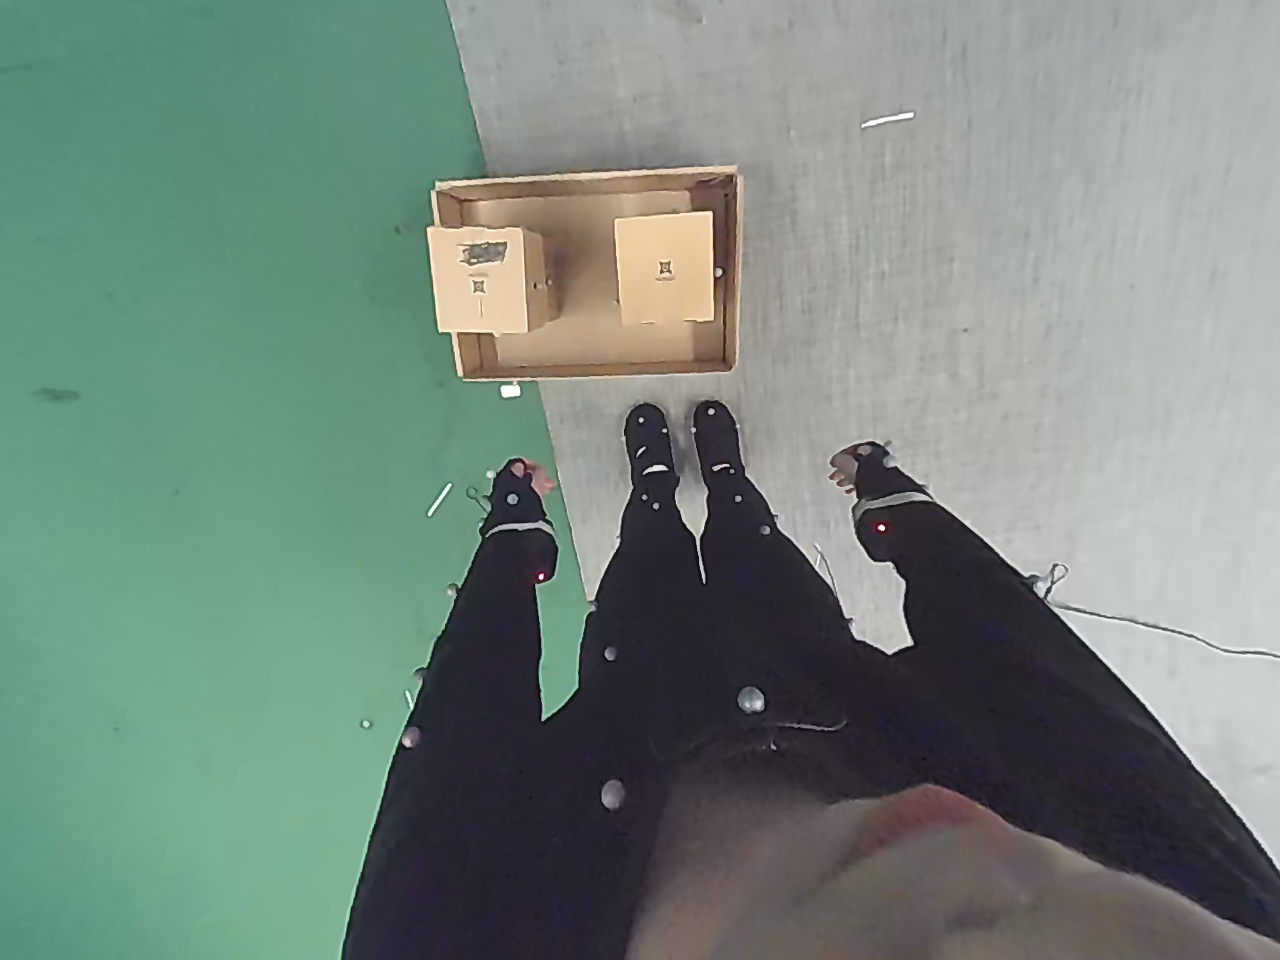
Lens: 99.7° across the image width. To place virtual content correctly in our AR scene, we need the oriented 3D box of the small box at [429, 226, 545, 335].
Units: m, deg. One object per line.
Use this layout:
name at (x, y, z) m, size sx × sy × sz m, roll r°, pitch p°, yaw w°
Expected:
small box at (-0.276, -0.371, 1.013) m, size 0.168 × 0.176 × 0.179 m, roll 1°, pitch 111°, yaw 1°

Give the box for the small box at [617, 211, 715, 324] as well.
small box at (0.048, -0.384, 0.994) m, size 0.168 × 0.176 × 0.179 m, roll -2°, pitch 110°, yaw 4°
